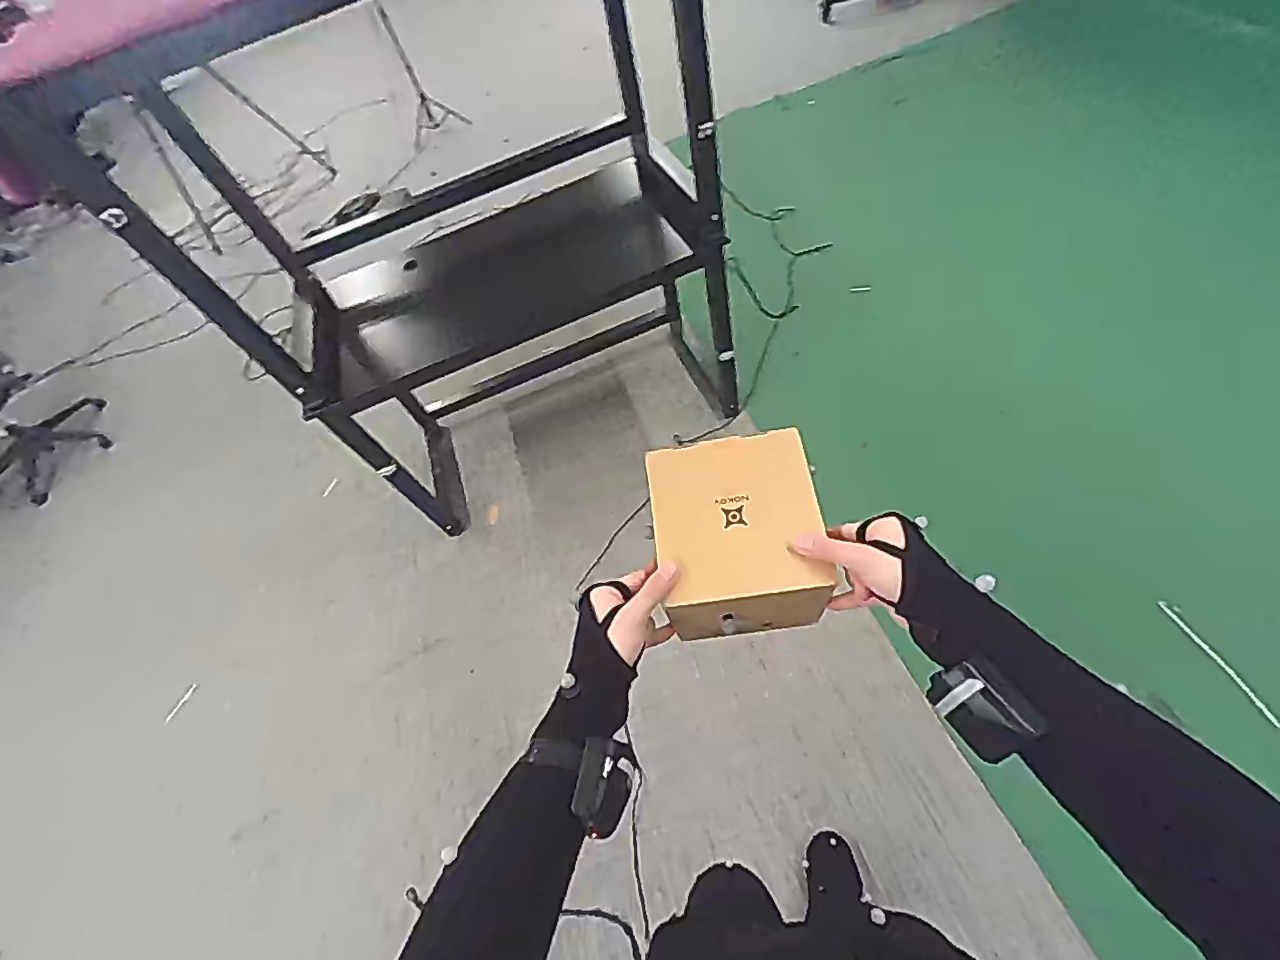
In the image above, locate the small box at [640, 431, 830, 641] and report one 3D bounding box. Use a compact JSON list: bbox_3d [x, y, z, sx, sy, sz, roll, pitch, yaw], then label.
[{"bbox_3d":[0.102,0.074,0.604,0.168,0.176,0.179,-10,59,6],"label":"small box"}]
